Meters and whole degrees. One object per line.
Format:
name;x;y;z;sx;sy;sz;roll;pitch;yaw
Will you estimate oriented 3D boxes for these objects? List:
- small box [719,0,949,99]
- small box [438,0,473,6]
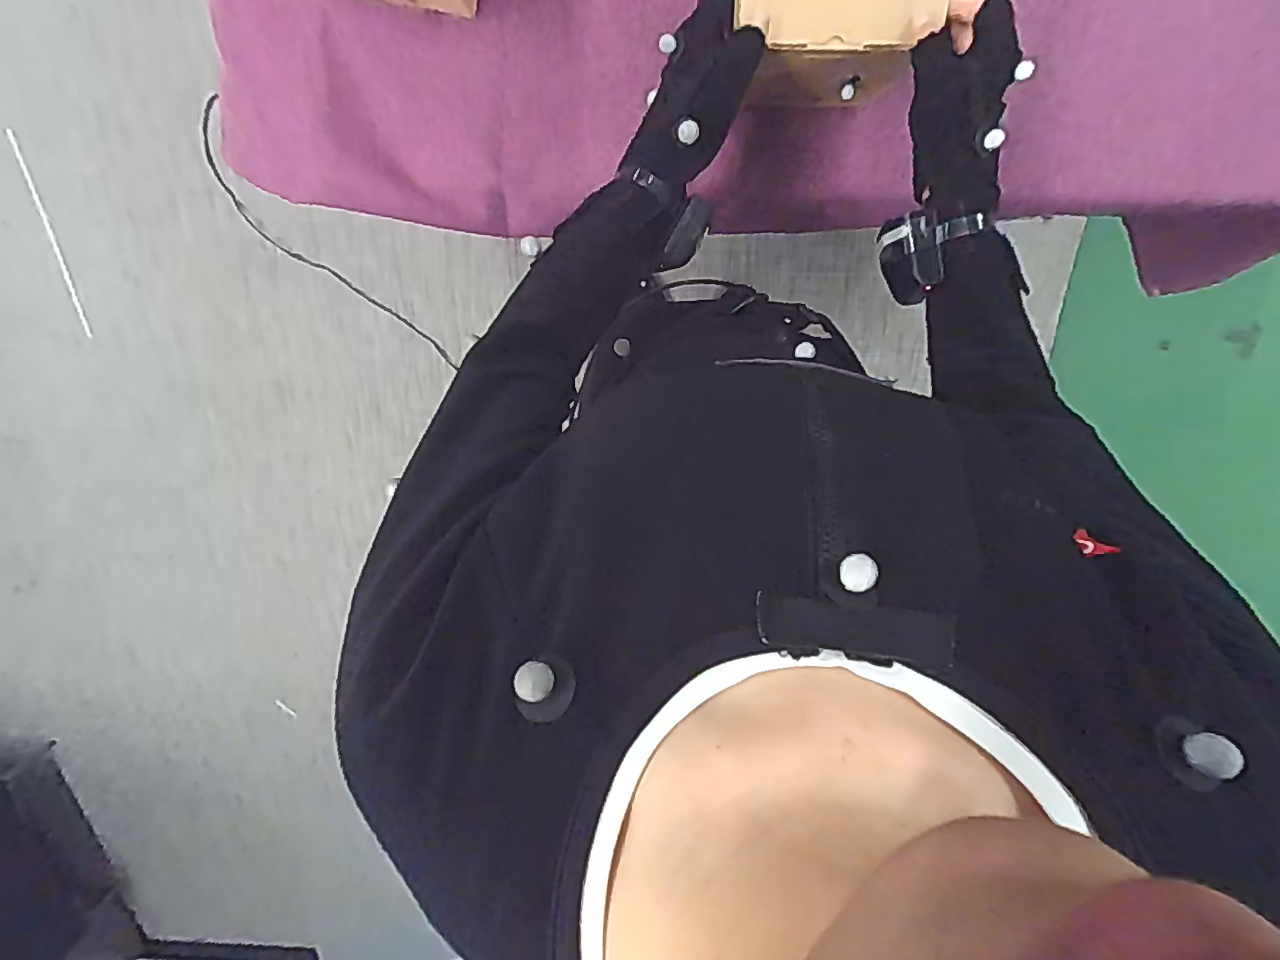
small box;0.160;-0.450;0.465;0.168;0.176;0.179;2;112;2
small box;-0.234;-0.544;0.450;0.168;0.176;0.179;11;113;-1
